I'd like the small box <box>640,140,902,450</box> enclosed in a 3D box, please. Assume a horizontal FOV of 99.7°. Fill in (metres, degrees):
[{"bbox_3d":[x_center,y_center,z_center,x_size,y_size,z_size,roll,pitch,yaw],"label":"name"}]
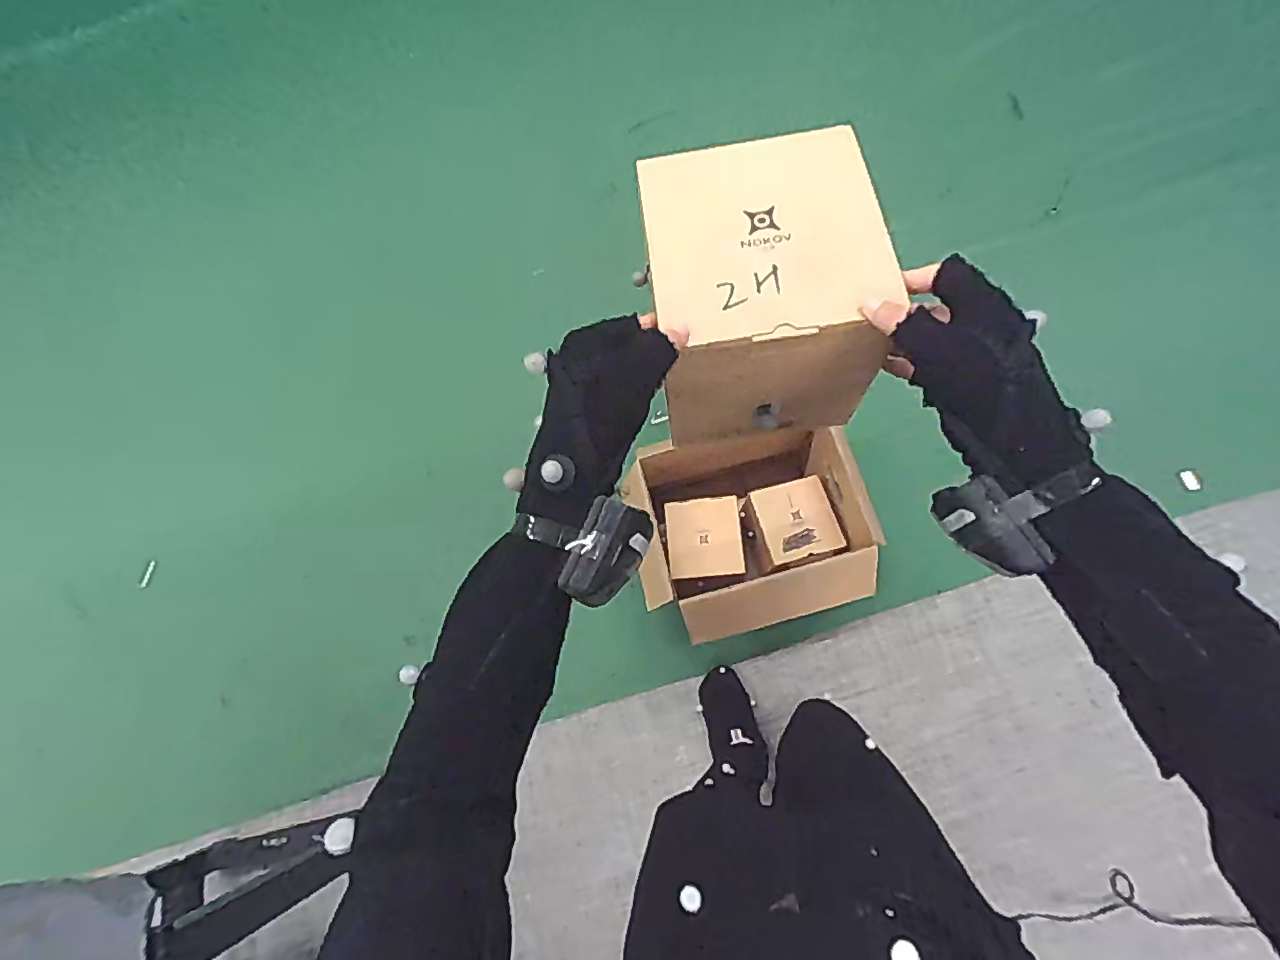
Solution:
[{"bbox_3d":[0.093,-0.145,0.465,0.168,0.176,0.179,-7,69,4],"label":"small box"}]
